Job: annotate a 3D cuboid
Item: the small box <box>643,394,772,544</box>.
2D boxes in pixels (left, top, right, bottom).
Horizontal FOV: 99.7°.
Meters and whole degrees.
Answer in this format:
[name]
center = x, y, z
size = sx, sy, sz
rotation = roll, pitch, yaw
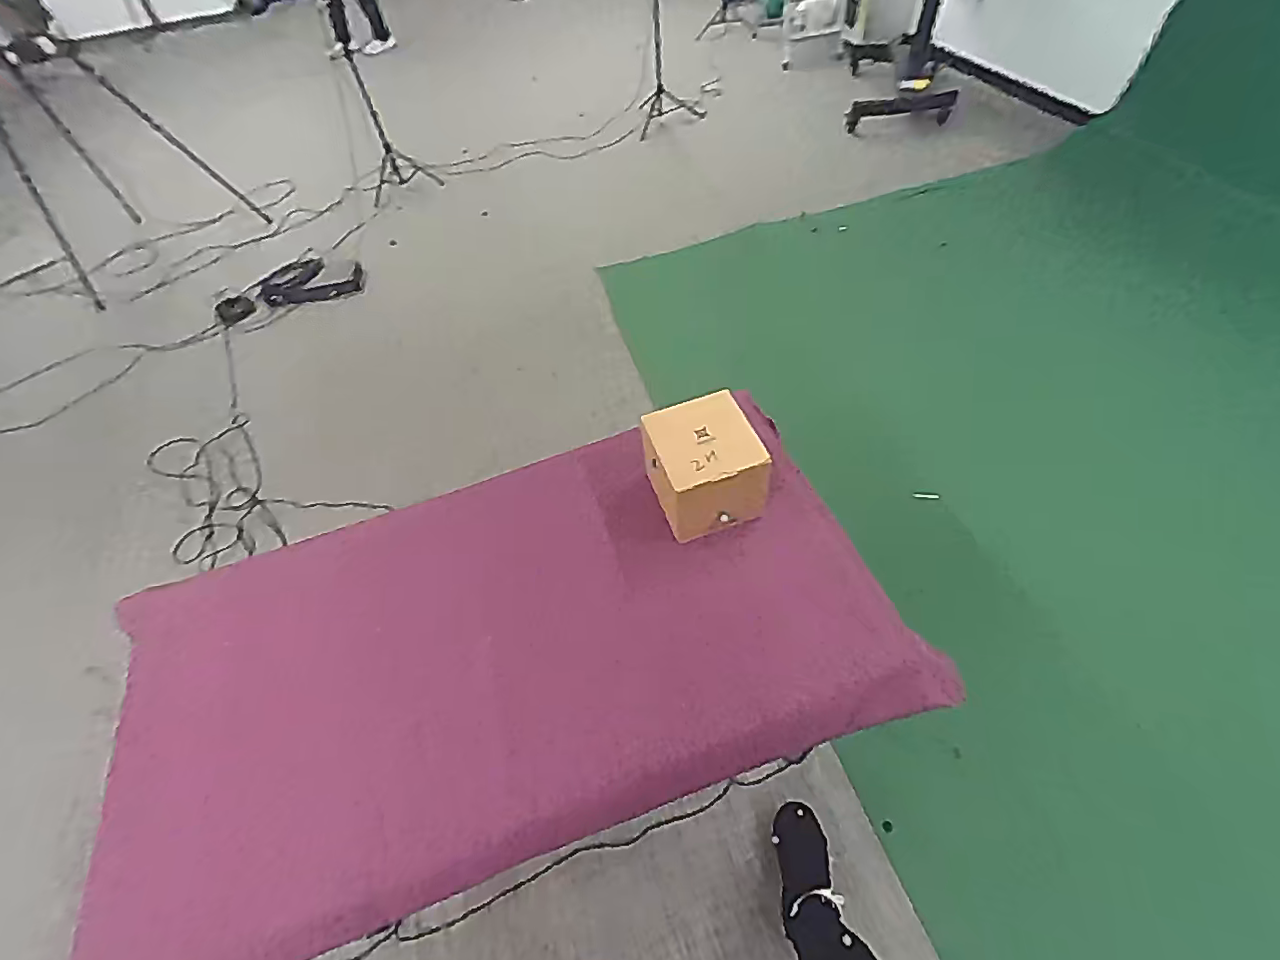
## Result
[small box]
center = 0.112, -0.017, 0.955
size = 0.168, 0.176, 0.179
rotation = -18, 55, -6
